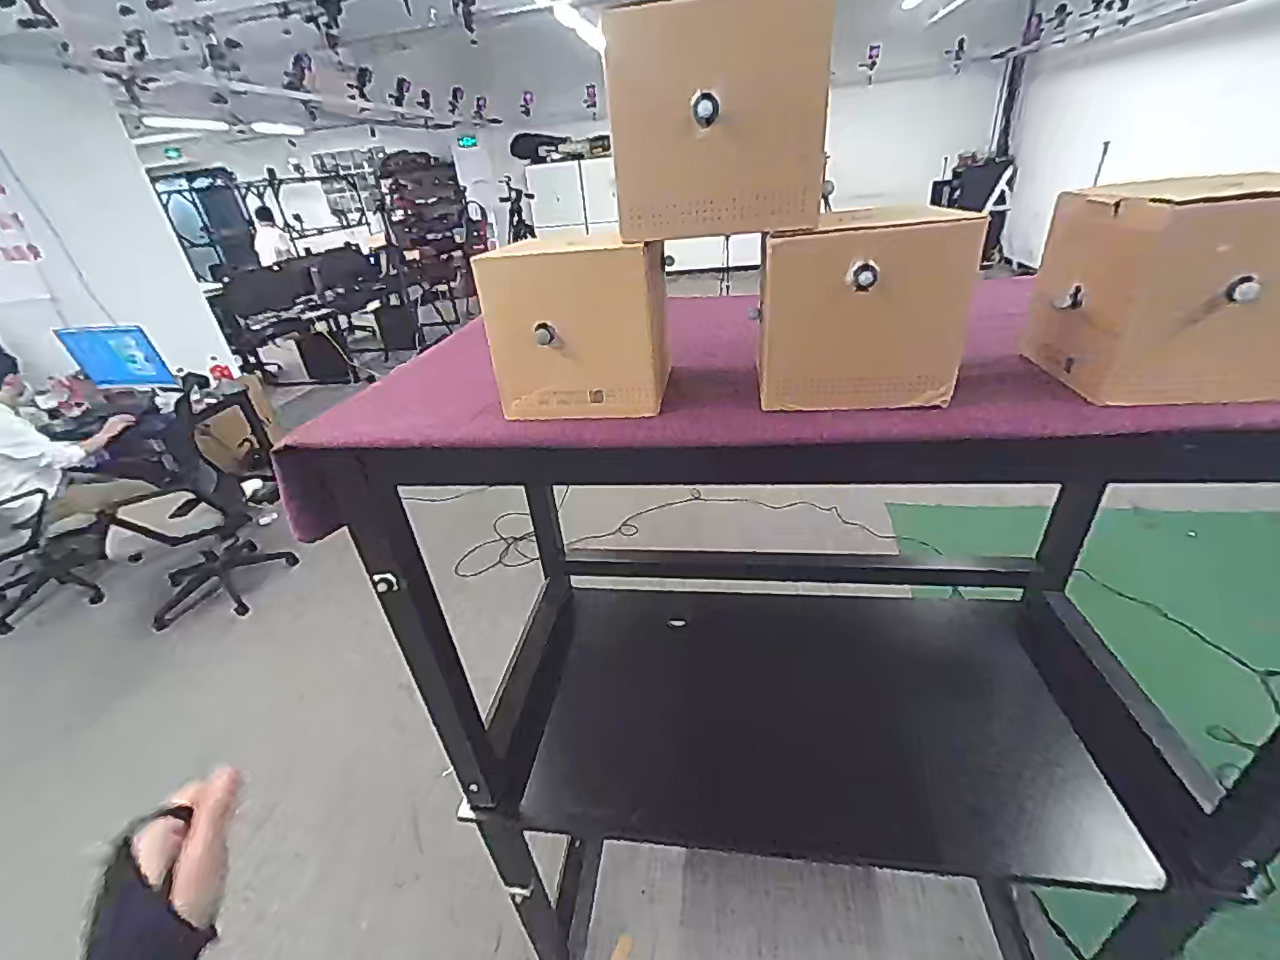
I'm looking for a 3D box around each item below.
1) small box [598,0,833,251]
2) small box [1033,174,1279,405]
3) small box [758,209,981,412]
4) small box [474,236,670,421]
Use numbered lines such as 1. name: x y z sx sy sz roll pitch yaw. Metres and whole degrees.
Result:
1. small box: 0.071 -0.320 0.506 0.179 0.176 0.168 -2 29 9
2. small box: 0.500 -0.176 0.501 0.179 0.176 0.168 -2 30 10
3. small box: 0.213 -0.174 0.555 0.179 0.176 0.168 0 29 11
4. small box: -0.057 -0.170 0.601 0.168 0.176 0.179 -1 28 9
